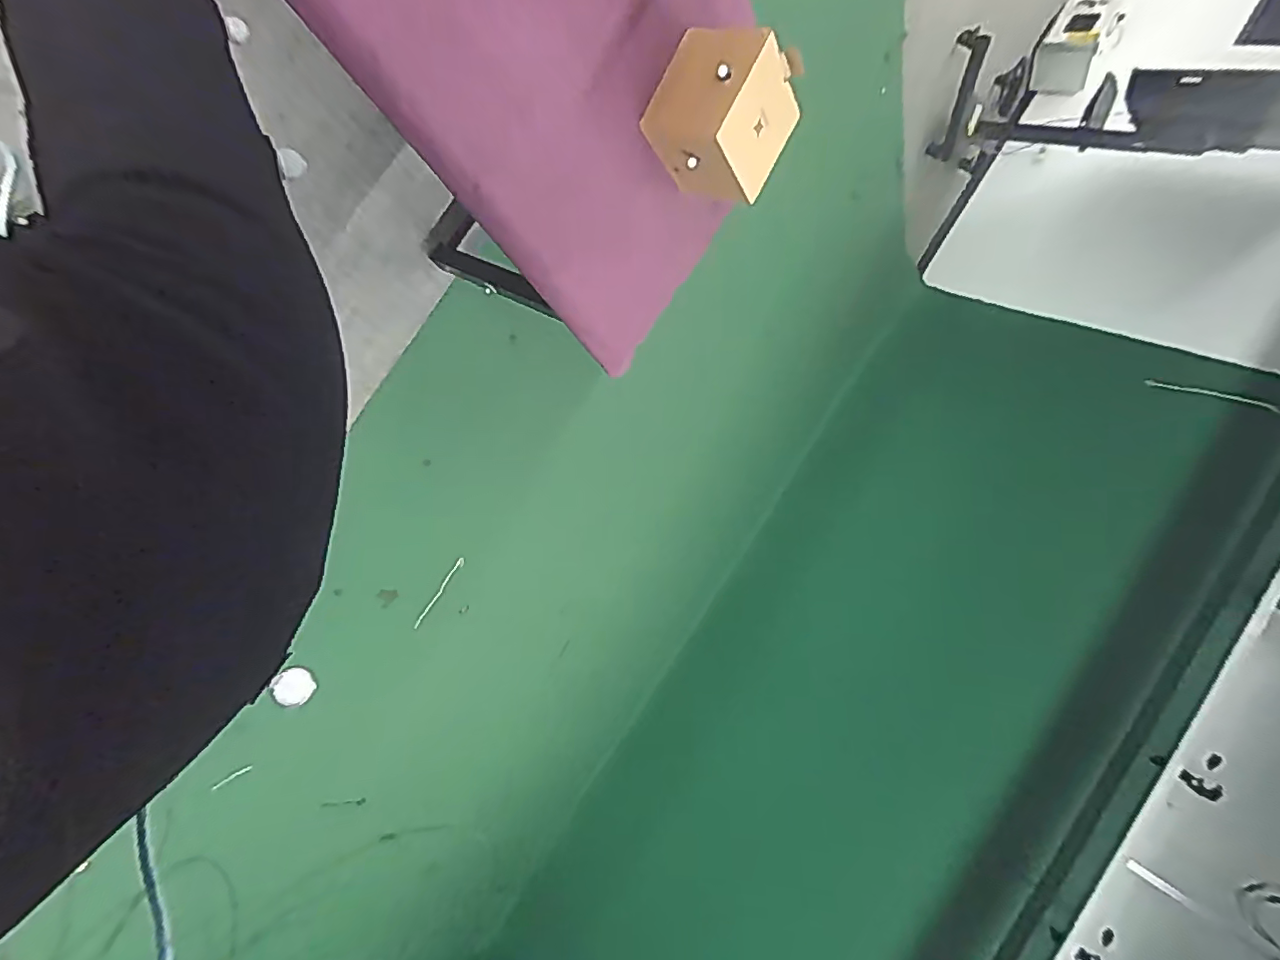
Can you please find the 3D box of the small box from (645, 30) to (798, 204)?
[{"bbox_3d":[0.132,-0.605,0.912,0.168,0.176,0.179,22,97,-57],"label":"small box"}]
